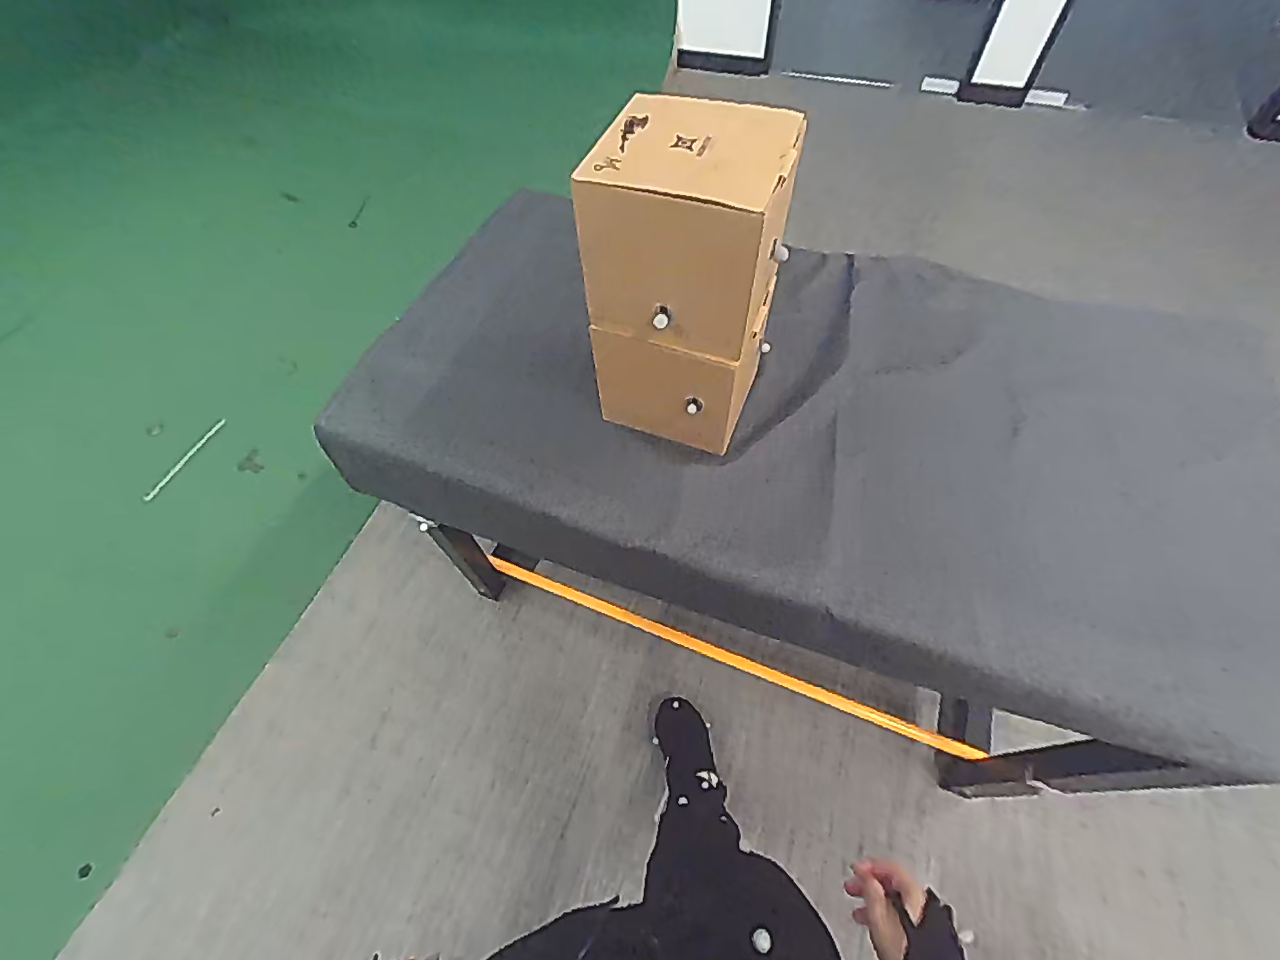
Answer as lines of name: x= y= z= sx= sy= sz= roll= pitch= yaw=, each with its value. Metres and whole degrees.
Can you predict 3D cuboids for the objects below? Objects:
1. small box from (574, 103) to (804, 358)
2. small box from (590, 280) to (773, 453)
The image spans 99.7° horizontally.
small box: x=0.051 y=-0.253 z=0.565 sx=0.179 sy=0.176 sz=0.168 roll=17 pitch=59 yaw=12
small box: x=0.055 y=-0.158 z=0.699 sx=0.179 sy=0.176 sz=0.168 roll=17 pitch=59 yaw=13
